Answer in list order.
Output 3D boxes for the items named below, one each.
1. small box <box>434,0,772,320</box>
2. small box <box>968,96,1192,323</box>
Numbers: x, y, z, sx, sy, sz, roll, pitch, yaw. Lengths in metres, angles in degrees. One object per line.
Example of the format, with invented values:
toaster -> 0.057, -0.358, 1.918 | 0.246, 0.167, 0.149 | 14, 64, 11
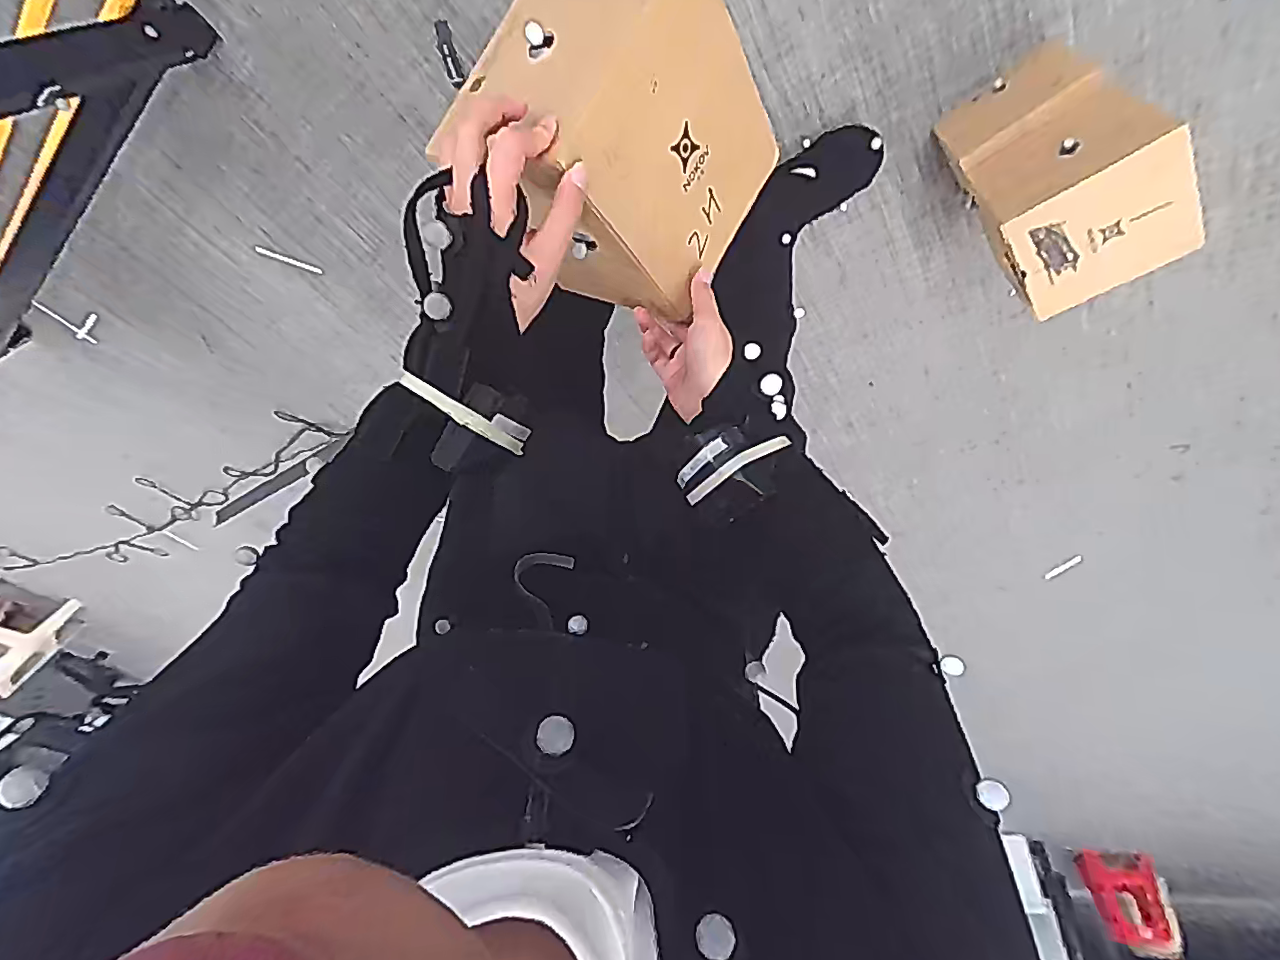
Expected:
small box -> -0.027, -0.259, 0.435 | 0.176, 0.168, 0.179 | 29, 177, 36
small box -> 0.554, -0.348, 0.703 | 0.179, 0.176, 0.168 | -26, 128, 32
